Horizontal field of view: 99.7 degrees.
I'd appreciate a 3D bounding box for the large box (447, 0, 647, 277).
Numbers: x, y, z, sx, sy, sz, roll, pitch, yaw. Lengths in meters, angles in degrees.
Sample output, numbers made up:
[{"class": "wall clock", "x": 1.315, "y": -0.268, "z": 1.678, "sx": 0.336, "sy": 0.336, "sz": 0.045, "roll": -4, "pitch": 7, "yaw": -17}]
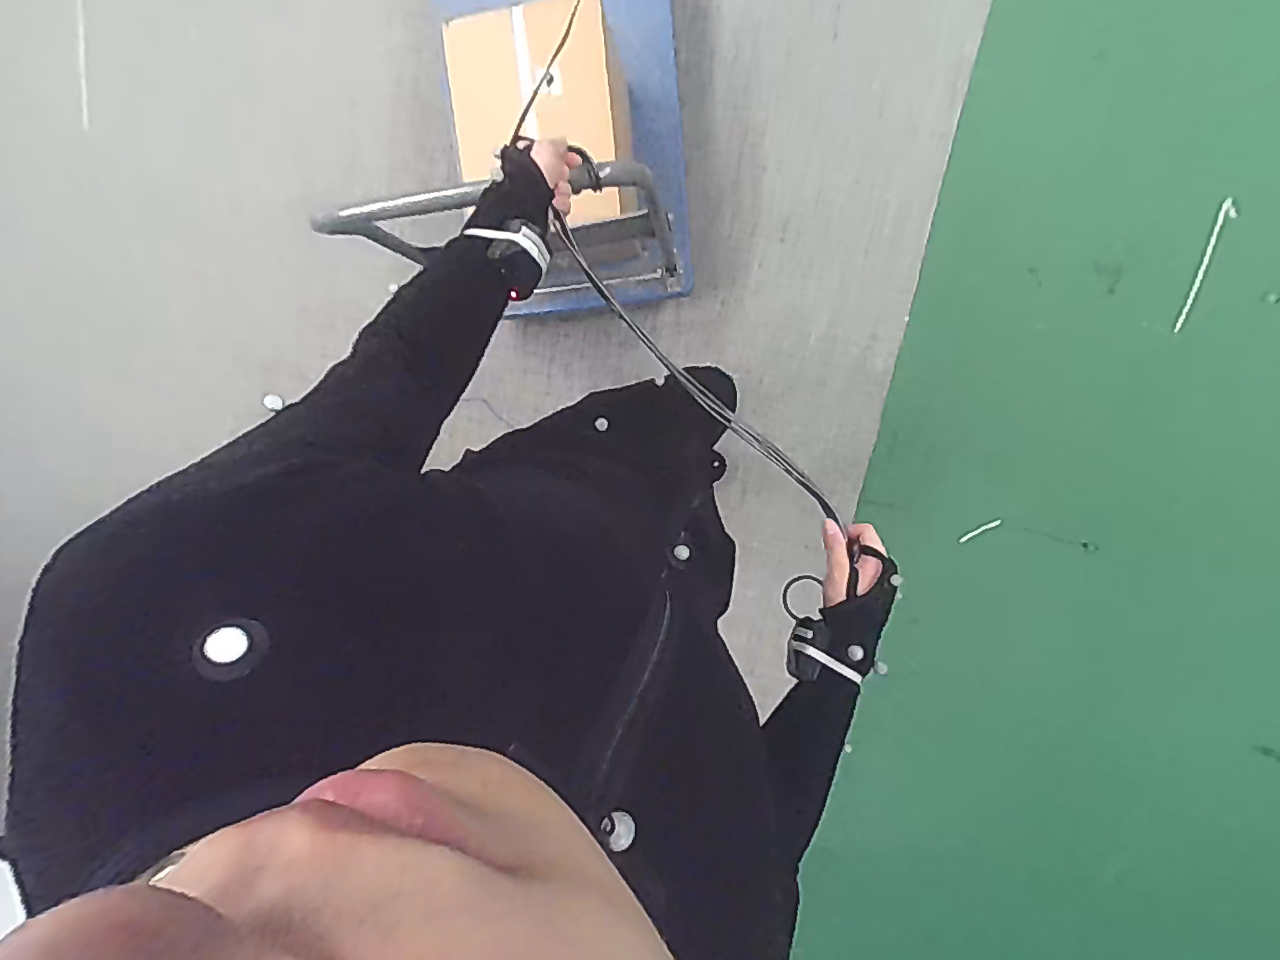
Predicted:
[{"class": "large box", "x": -0.174, "y": -0.696, "z": 1.176, "sx": 0.320, "sy": 0.320, "sz": 0.408, "roll": -4, "pitch": 99, "yaw": 8}]
